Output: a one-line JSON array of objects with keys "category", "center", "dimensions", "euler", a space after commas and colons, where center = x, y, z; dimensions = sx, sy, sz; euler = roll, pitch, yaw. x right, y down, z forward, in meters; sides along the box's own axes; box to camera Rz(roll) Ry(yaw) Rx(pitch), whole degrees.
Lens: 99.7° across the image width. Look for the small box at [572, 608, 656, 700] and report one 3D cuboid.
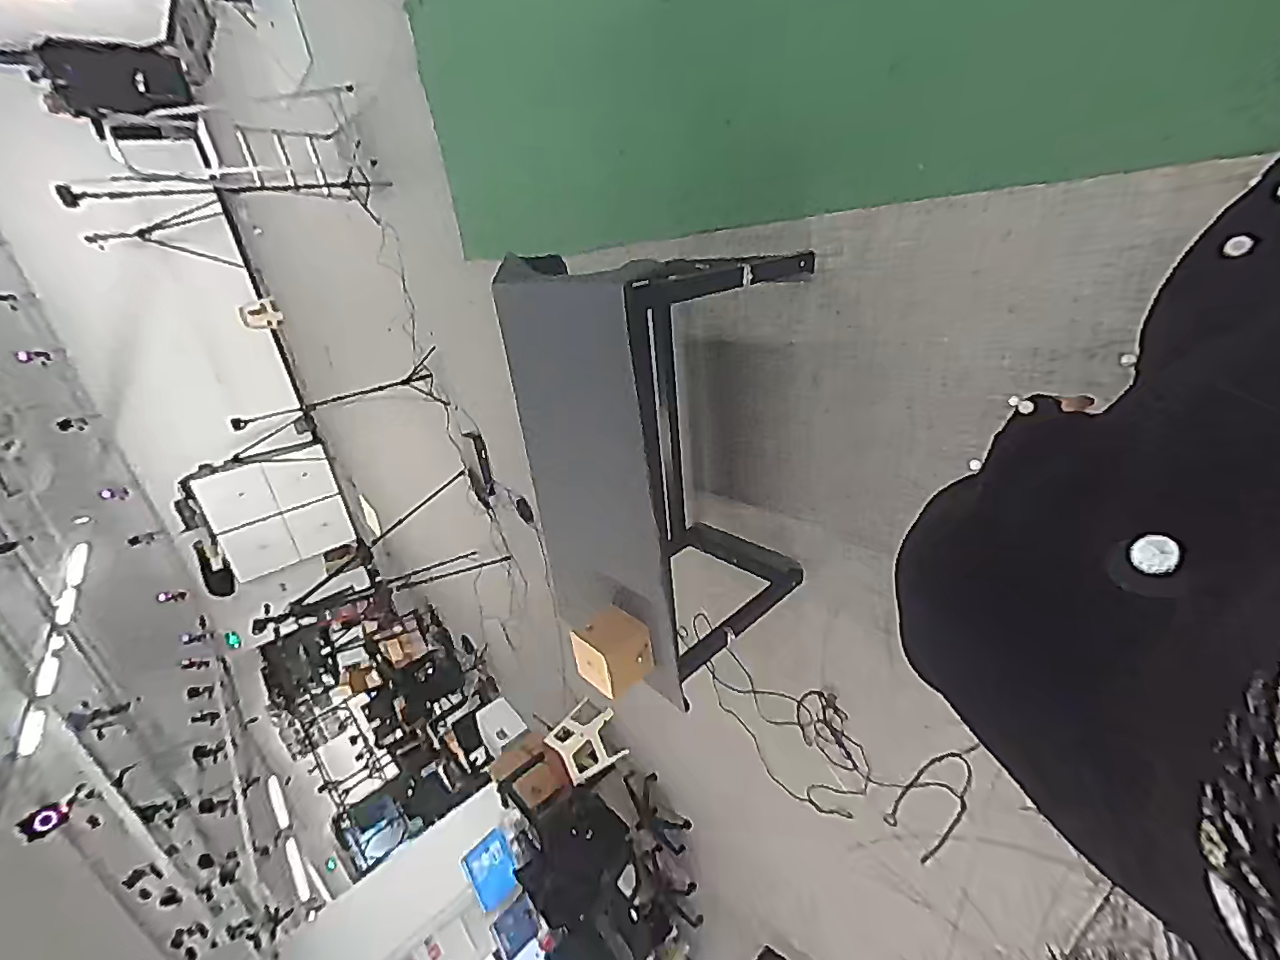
[{"category": "small box", "center": [-0.075, 0.508, 1.615], "dimensions": [0.179, 0.176, 0.168], "euler": [17, 124, 46]}]
